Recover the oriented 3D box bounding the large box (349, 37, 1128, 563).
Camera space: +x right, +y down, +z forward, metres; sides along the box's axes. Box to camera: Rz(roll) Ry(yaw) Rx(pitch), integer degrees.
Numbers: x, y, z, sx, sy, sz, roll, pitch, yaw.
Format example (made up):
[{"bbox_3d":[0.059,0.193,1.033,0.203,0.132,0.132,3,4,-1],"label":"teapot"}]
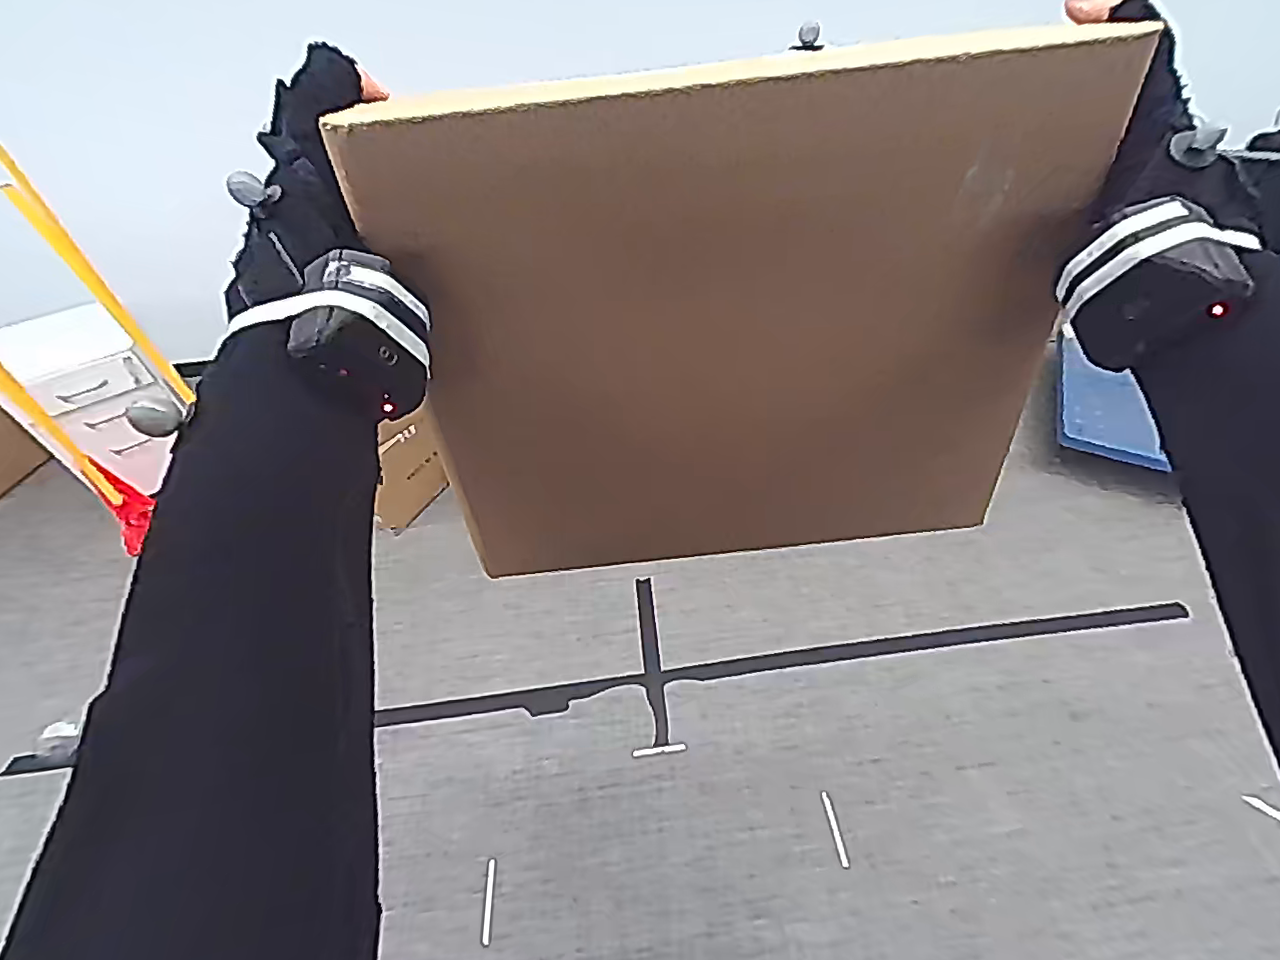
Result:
[{"bbox_3d":[0.051,-0.157,0.474,0.408,0.320,0.320,-6,36,0],"label":"large box"}]
